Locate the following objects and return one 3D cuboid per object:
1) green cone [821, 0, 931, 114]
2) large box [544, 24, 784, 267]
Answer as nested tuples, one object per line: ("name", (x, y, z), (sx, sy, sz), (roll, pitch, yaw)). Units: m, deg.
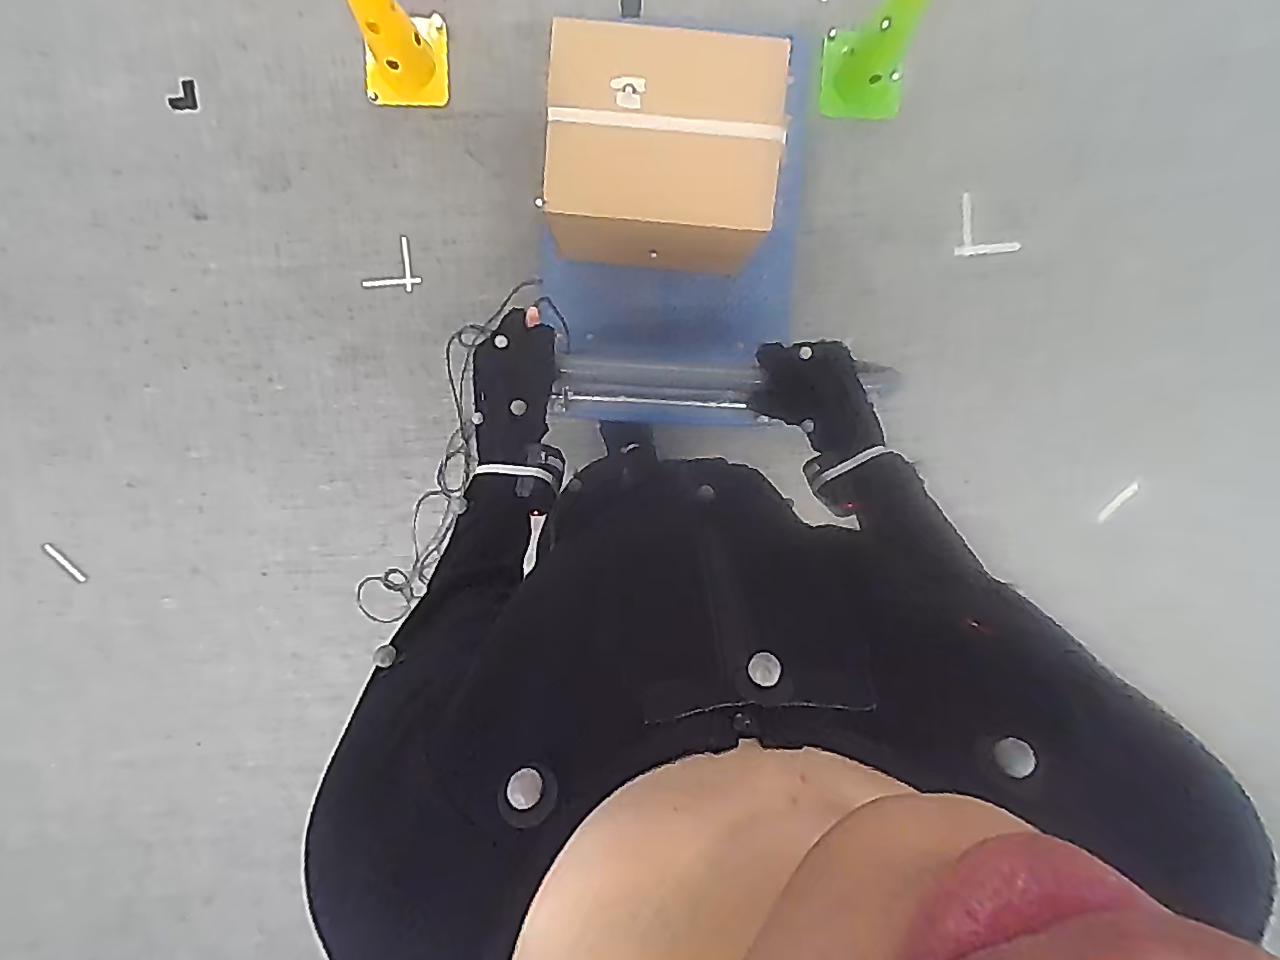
("green cone", (0.559, -1.004, 1.182), (0.202, 0.368, 0.200), (1, 97, -2))
("large box", (0.041, -0.627, 1.078), (0.408, 0.320, 0.320), (4, 97, 0))
